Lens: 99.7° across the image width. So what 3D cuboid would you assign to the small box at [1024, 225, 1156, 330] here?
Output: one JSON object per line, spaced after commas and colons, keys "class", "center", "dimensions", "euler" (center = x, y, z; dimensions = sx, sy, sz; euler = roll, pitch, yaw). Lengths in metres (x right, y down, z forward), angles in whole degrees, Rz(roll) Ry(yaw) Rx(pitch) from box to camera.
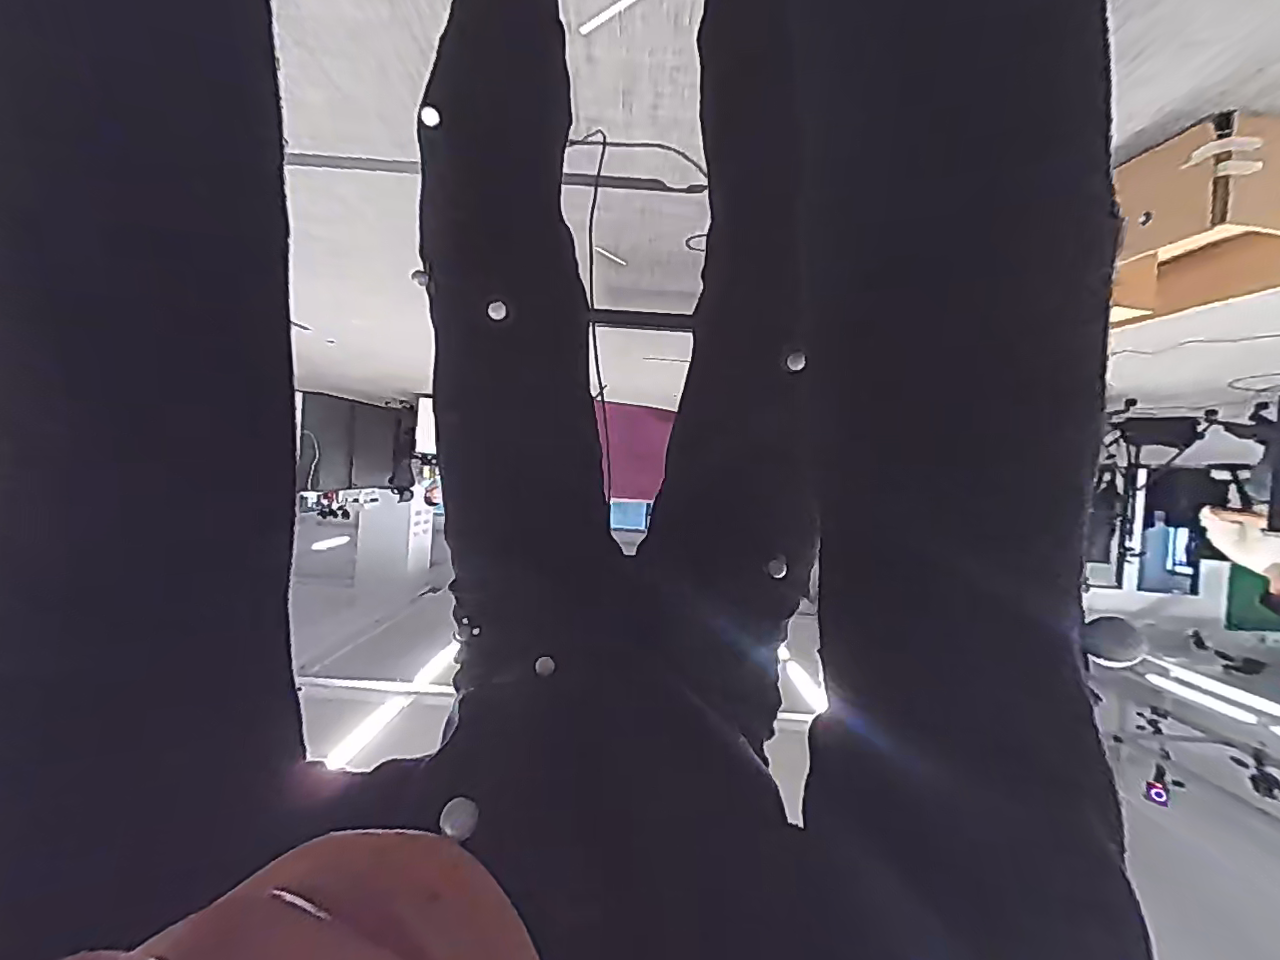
{"class": "small box", "center": [1.020, -0.457, 1.231], "dimensions": [0.179, 0.176, 0.168], "euler": [4, -179, -14]}
